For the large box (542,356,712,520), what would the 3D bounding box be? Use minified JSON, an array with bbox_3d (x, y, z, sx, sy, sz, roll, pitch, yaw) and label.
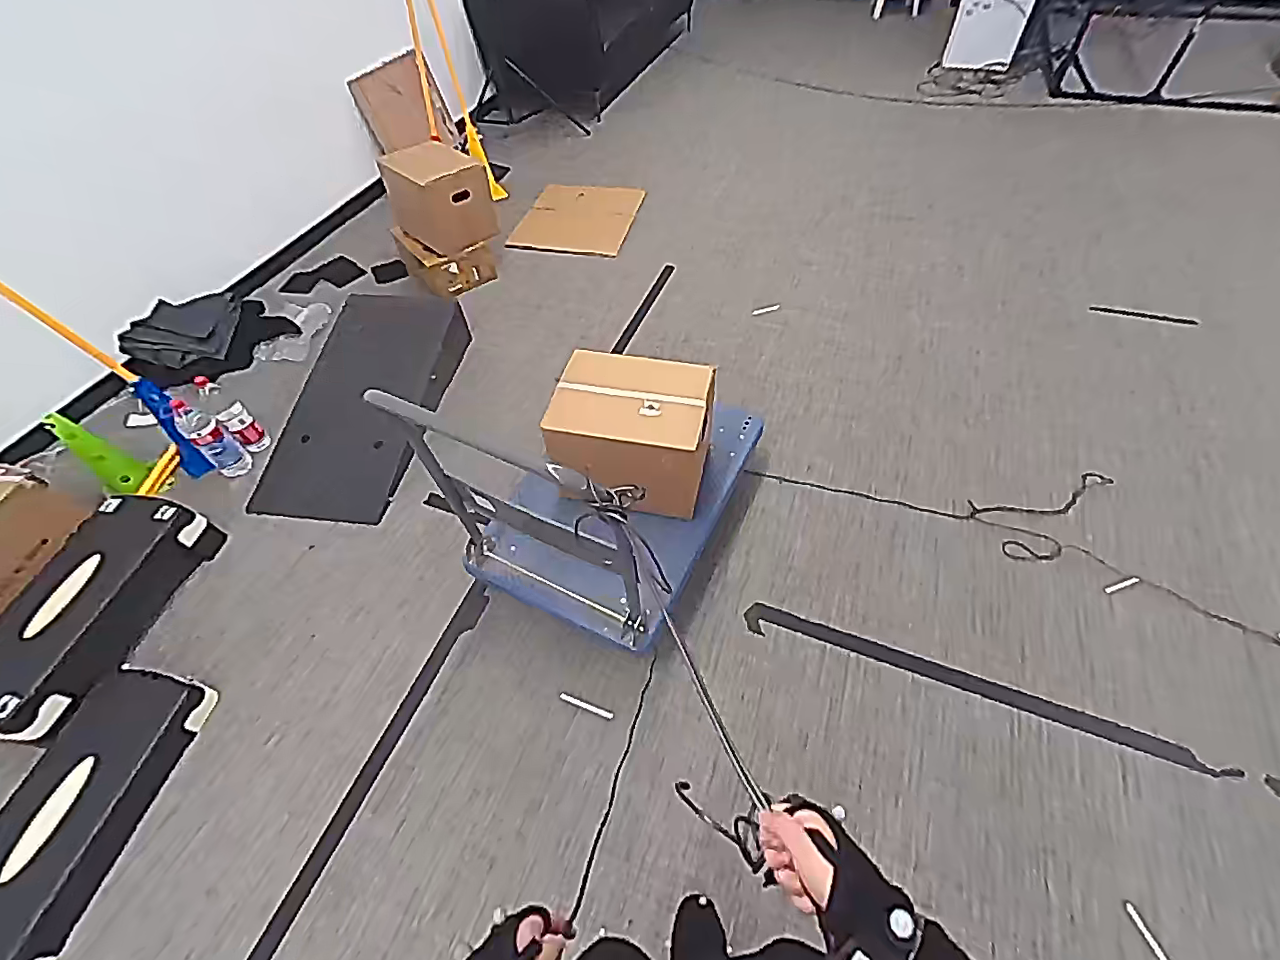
[{"bbox_3d":[-0.023,-0.118,1.538,0.408,0.320,0.320,9,54,9],"label":"large box"}]
